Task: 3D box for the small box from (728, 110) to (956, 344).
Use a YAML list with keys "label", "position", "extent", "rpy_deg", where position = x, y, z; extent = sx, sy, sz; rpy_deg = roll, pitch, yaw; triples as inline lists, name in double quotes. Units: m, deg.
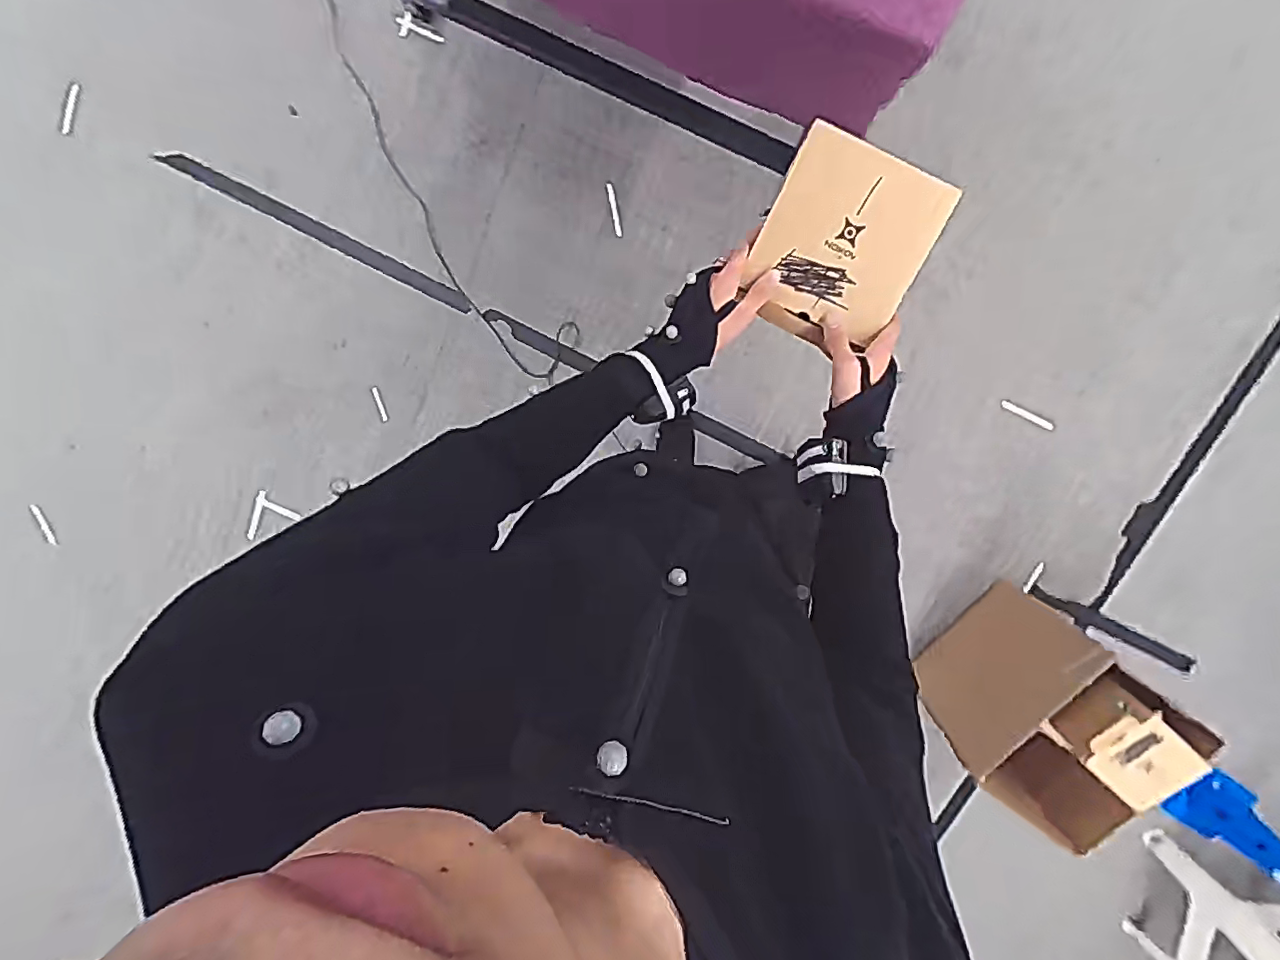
- label: "small box"
  position: [0.211, -0.269, 0.625]
  extent: [0.168, 0.176, 0.179]
  rpy_deg: [25, 104, -1]
